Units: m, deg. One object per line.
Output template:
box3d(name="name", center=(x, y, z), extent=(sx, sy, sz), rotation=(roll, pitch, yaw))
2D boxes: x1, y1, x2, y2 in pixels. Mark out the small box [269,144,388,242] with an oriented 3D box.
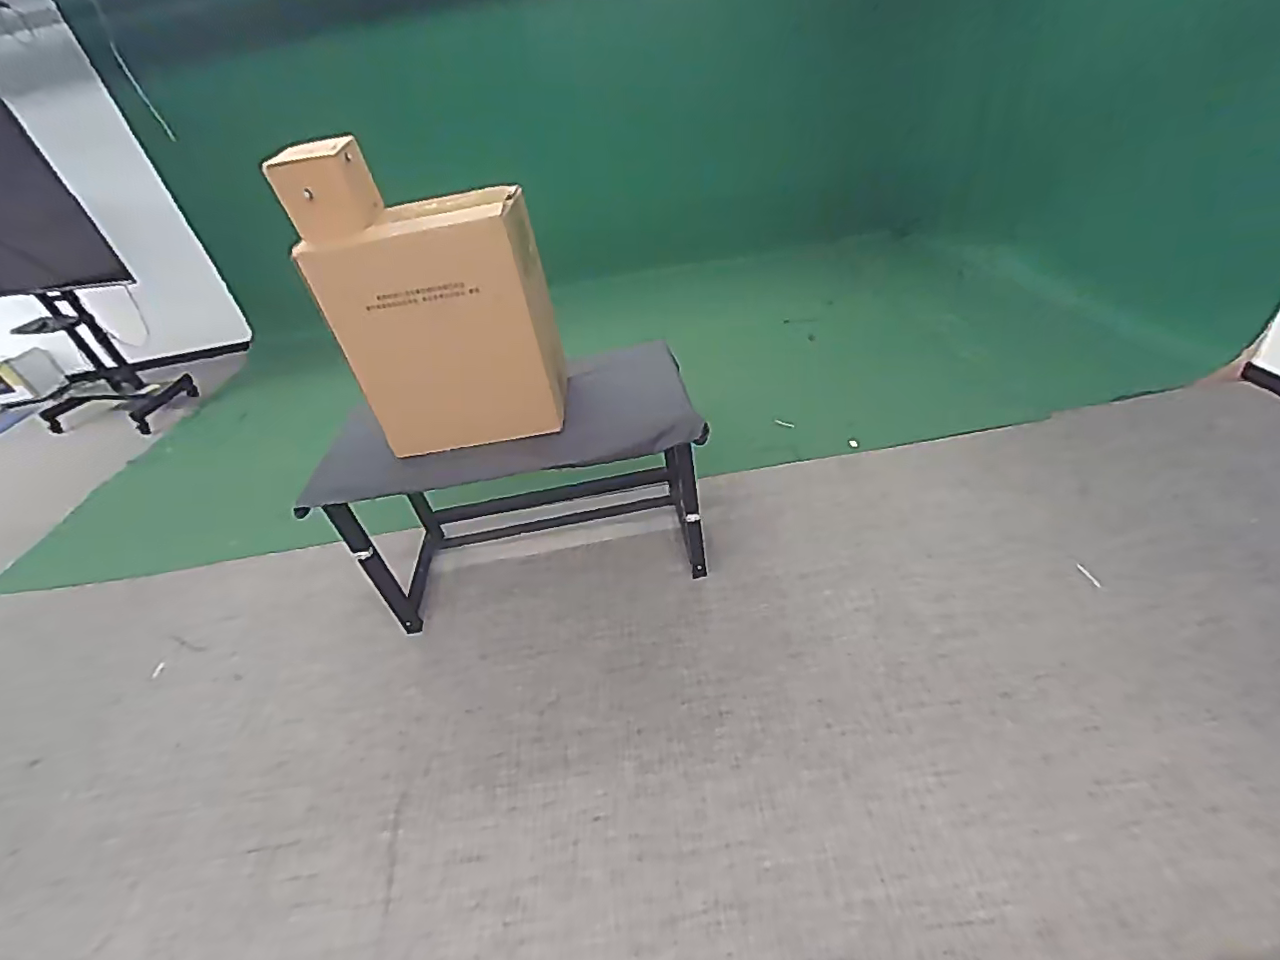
box3d(name="small box", center=(-0.777, -0.724, 1.370), extent=(0.179, 0.176, 0.168), rotation=(-9, 45, 3))
